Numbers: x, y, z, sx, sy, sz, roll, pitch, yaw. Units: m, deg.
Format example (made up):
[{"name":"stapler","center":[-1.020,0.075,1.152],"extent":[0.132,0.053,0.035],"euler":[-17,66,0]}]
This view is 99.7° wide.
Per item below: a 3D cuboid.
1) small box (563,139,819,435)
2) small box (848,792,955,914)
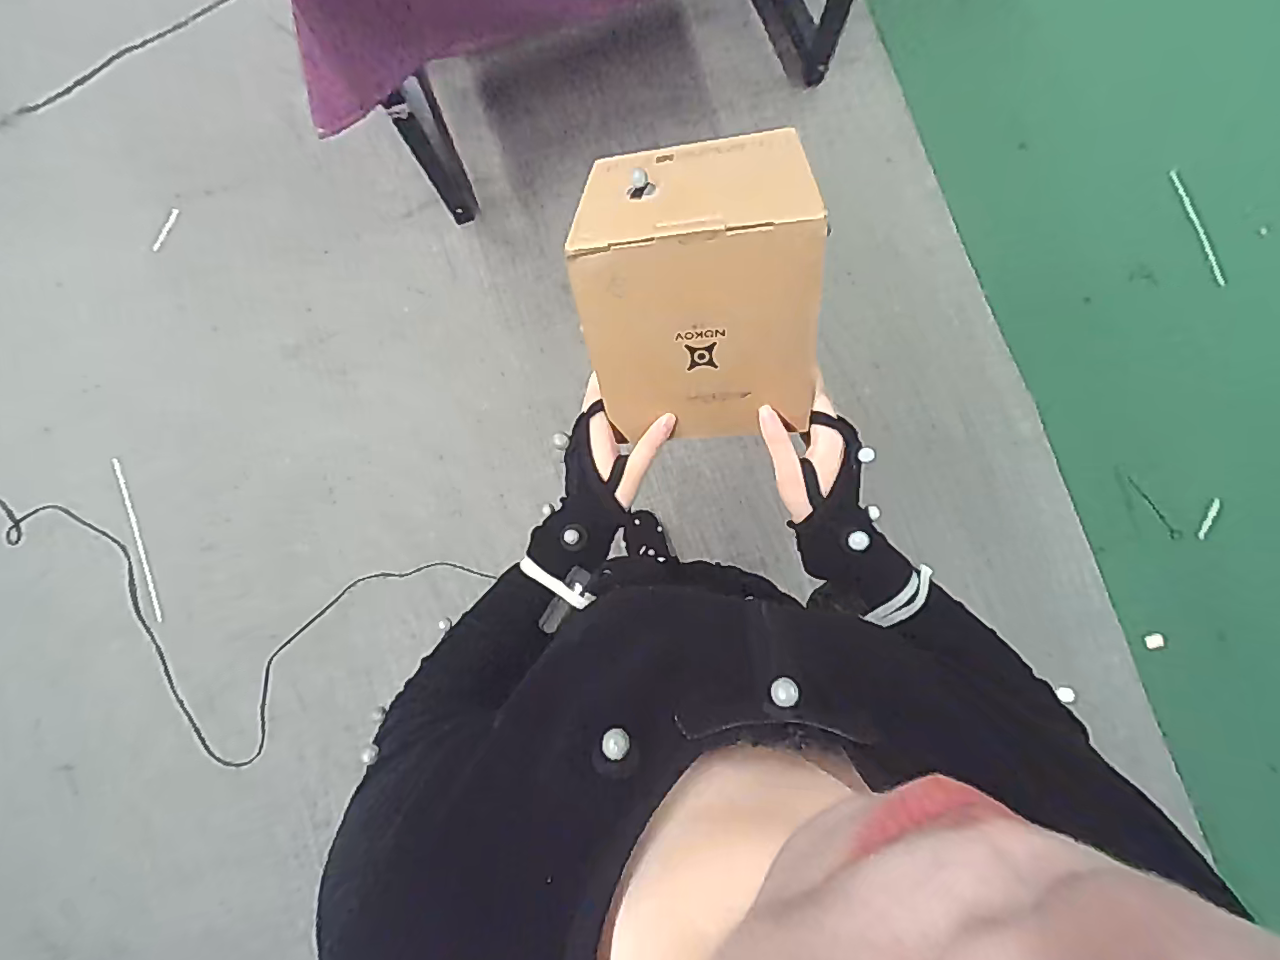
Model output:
[{"name":"small box","center":[0.045,-0.161,0.451],"extent":[0.168,0.179,0.176],"euler":[-3,48,10]},{"name":"small box","center":[0.632,0.892,1.316],"extent":[0.168,0.176,0.179],"euler":[-15,85,1]}]
